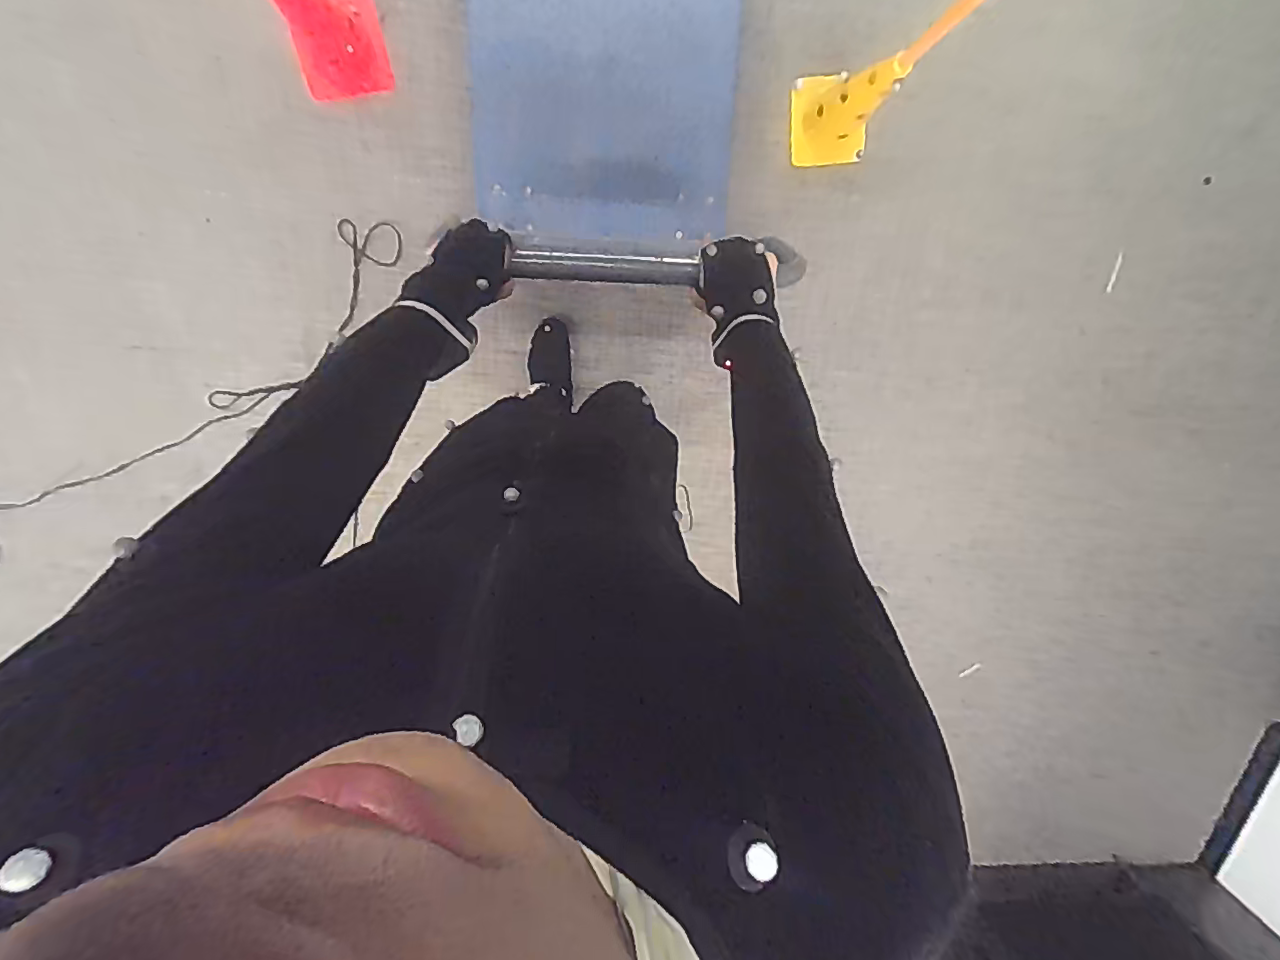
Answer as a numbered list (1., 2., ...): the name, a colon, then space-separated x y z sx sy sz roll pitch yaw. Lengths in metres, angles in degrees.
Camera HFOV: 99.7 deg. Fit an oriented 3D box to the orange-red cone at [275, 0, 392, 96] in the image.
1. orange-red cone: -0.666 -0.942 1.066 0.199 0.360 0.198 -10 109 -2
